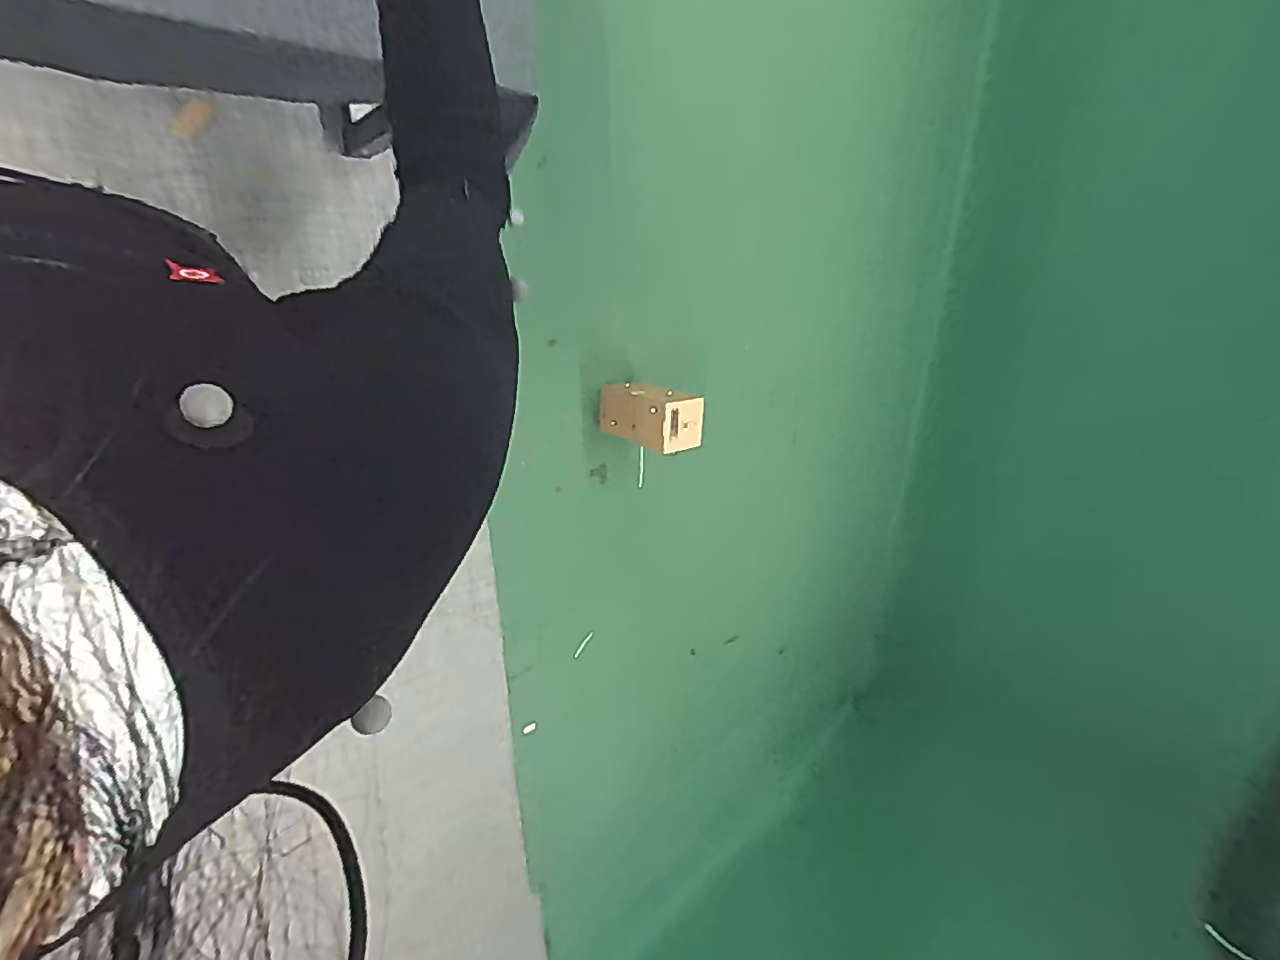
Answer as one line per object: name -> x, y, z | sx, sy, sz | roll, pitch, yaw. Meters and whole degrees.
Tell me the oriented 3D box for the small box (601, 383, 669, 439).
small box -> -0.023, -0.246, 1.895 | 0.179, 0.176, 0.168 | -12, 114, -39
